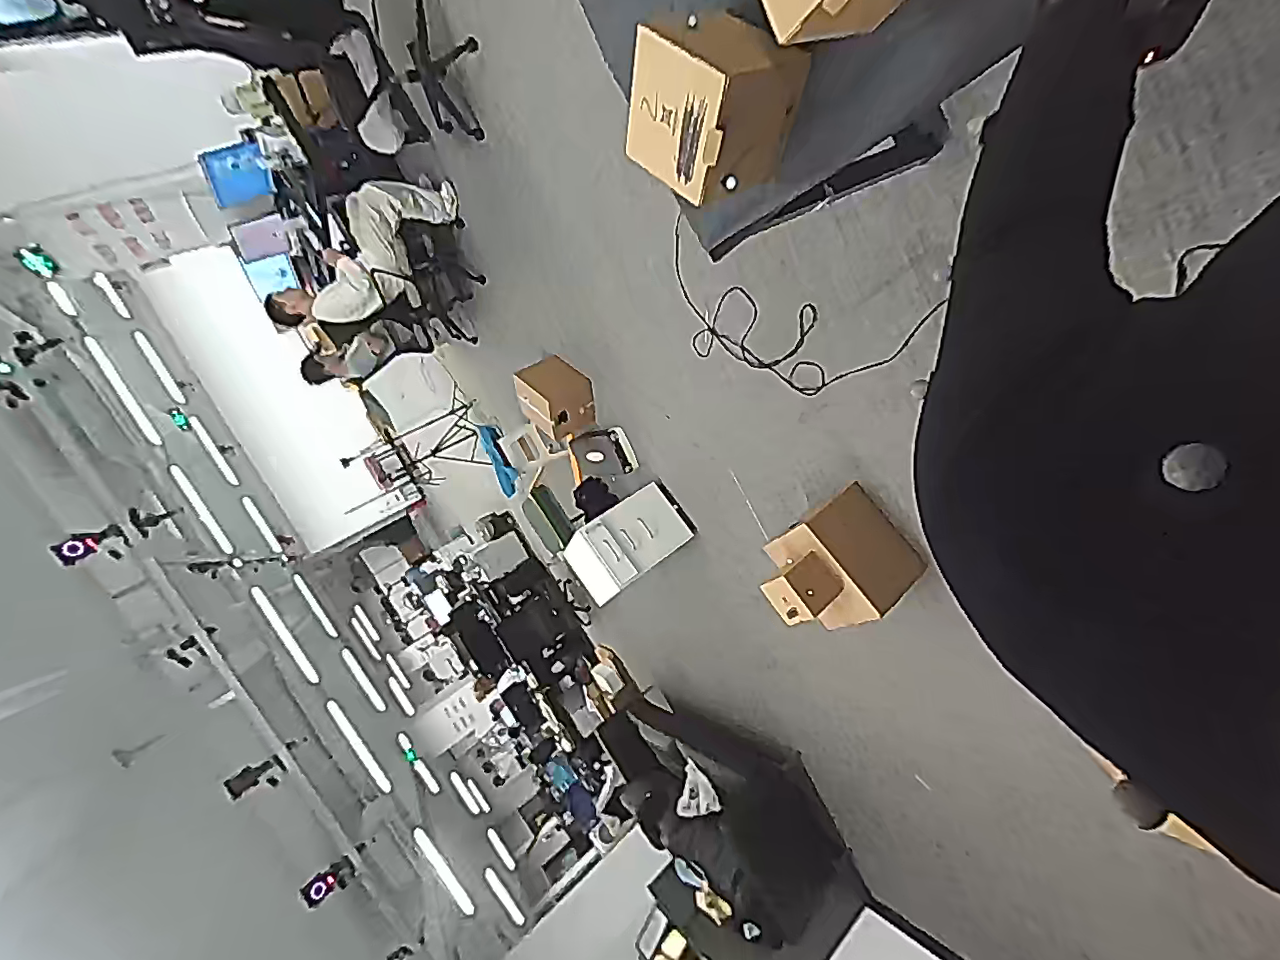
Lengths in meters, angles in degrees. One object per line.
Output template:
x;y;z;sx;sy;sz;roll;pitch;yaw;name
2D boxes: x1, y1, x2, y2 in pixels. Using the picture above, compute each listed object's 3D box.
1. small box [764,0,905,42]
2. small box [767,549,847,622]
0.220;-0.592;0.540;0.168;0.176;0.179;-7;112;63;small box
0.596;0.376;1.925;0.179;0.176;0.168;53;152;9;small box
